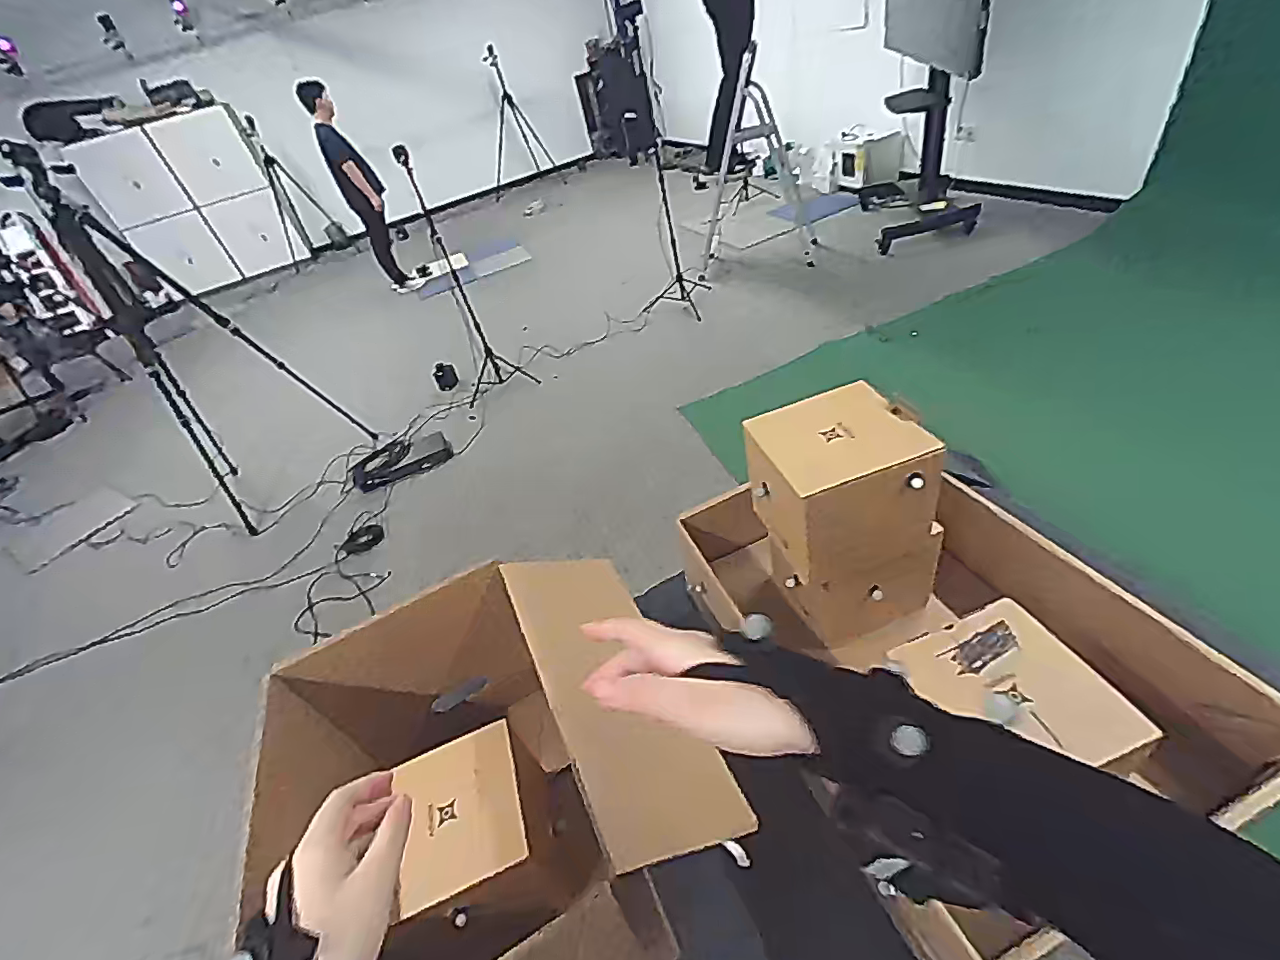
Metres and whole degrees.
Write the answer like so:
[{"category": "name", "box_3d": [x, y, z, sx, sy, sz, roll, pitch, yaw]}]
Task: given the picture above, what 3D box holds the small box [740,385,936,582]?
[{"category": "small box", "box_3d": [0.250, 0.007, 0.710, 0.179, 0.176, 0.168, -19, 41, -4]}]
